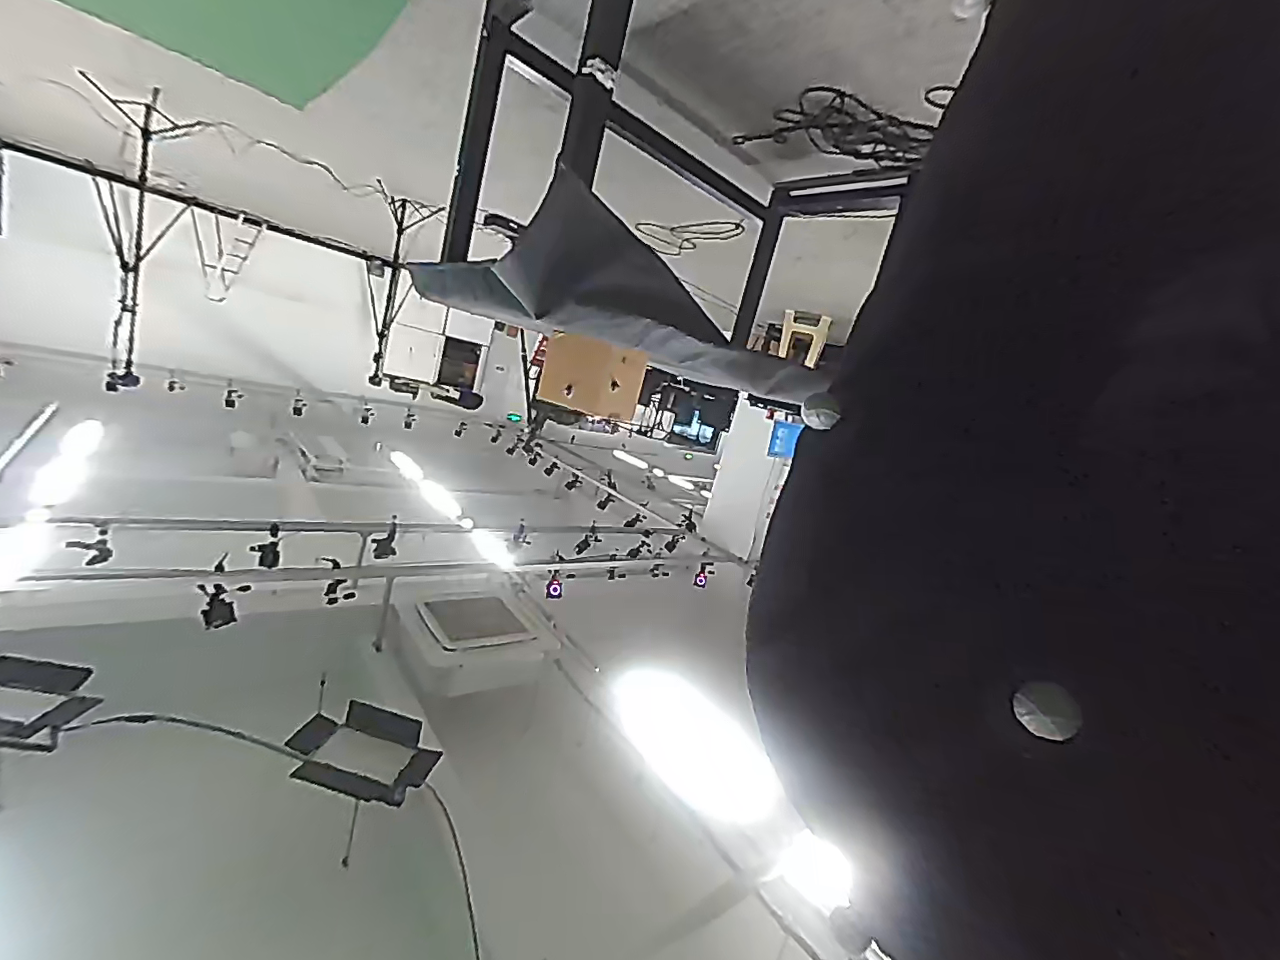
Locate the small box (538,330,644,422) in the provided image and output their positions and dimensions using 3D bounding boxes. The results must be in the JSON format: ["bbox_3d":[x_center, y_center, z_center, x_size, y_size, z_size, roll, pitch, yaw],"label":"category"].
[{"bbox_3d":[-0.107,-0.243,1.265,0.179,0.176,0.168,22,-169,29],"label":"small box"}]
